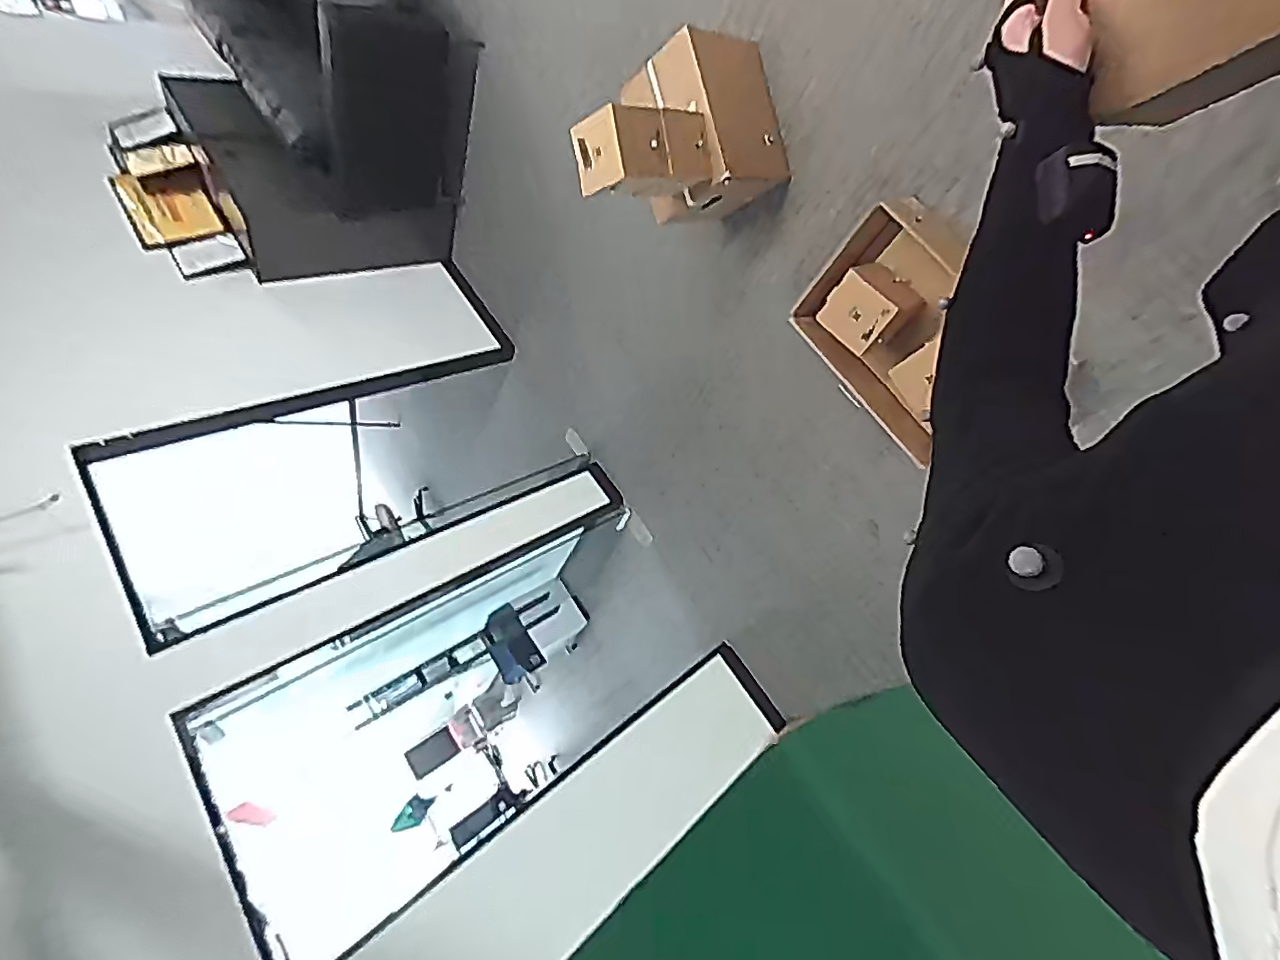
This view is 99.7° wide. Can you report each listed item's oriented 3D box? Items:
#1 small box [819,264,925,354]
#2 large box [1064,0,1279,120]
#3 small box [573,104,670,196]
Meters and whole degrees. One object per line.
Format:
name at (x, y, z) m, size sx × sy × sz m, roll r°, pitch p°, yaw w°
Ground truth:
small box at (0.644, -0.480, 1.503) m, size 0.179 × 0.176 × 0.168 m, roll 51°, pitch 142°, yaw 18°
large box at (0.560, -0.528, 0.373) m, size 0.408 × 0.320 × 0.320 m, roll -10°, pitch 105°, yaw 54°
small box at (-0.047, -0.860, 1.426) m, size 0.179 × 0.176 × 0.168 m, roll 9°, pitch 117°, yaw 48°
